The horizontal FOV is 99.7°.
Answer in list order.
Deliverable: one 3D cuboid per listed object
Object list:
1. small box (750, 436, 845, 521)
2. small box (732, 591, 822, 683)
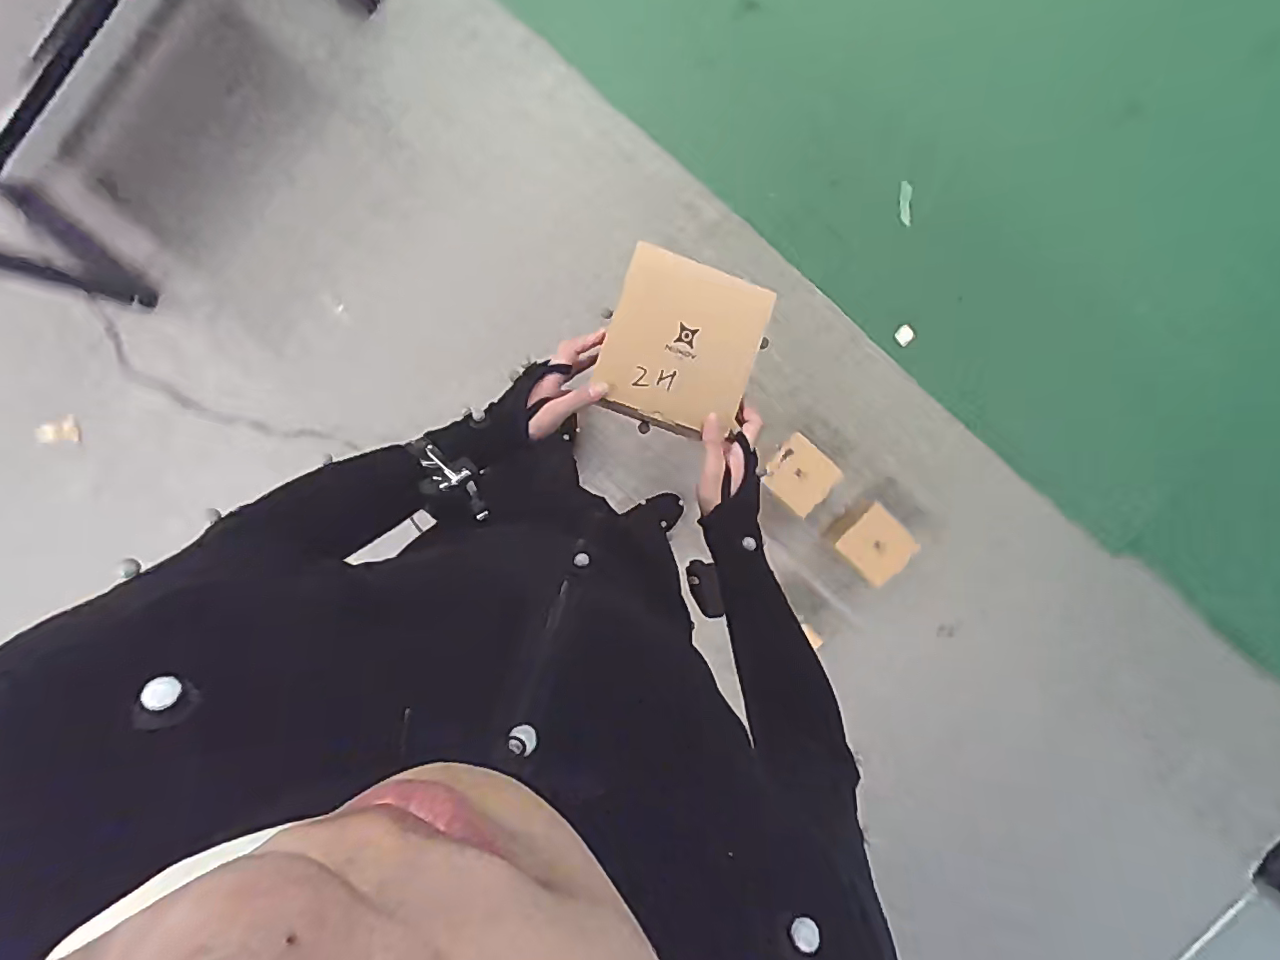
[{"bbox_3d":[0.437,-0.011,1.526,0.179,0.176,0.168,43,94,-1],"label":"small box"},{"bbox_3d":[0.384,0.439,1.554,0.179,0.176,0.168,45,95,0],"label":"small box"}]
